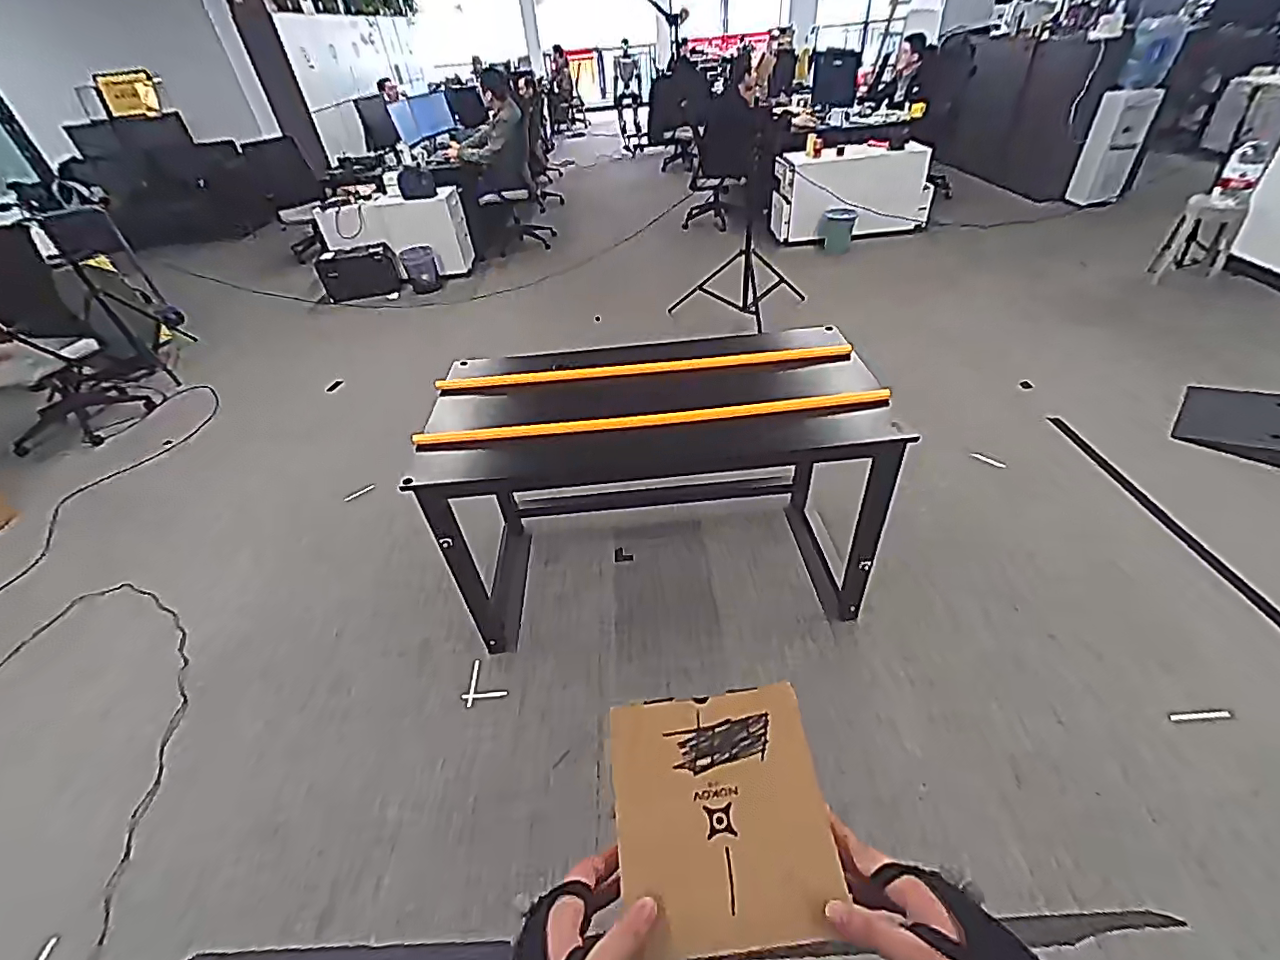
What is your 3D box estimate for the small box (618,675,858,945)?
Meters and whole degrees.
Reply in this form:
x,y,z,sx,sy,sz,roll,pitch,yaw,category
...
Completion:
x,y,z,sx,sy,sz,roll,pitch,yaw,category
0.073,0.301,0.498,0.168,0.176,0.179,-8,53,0,small box
